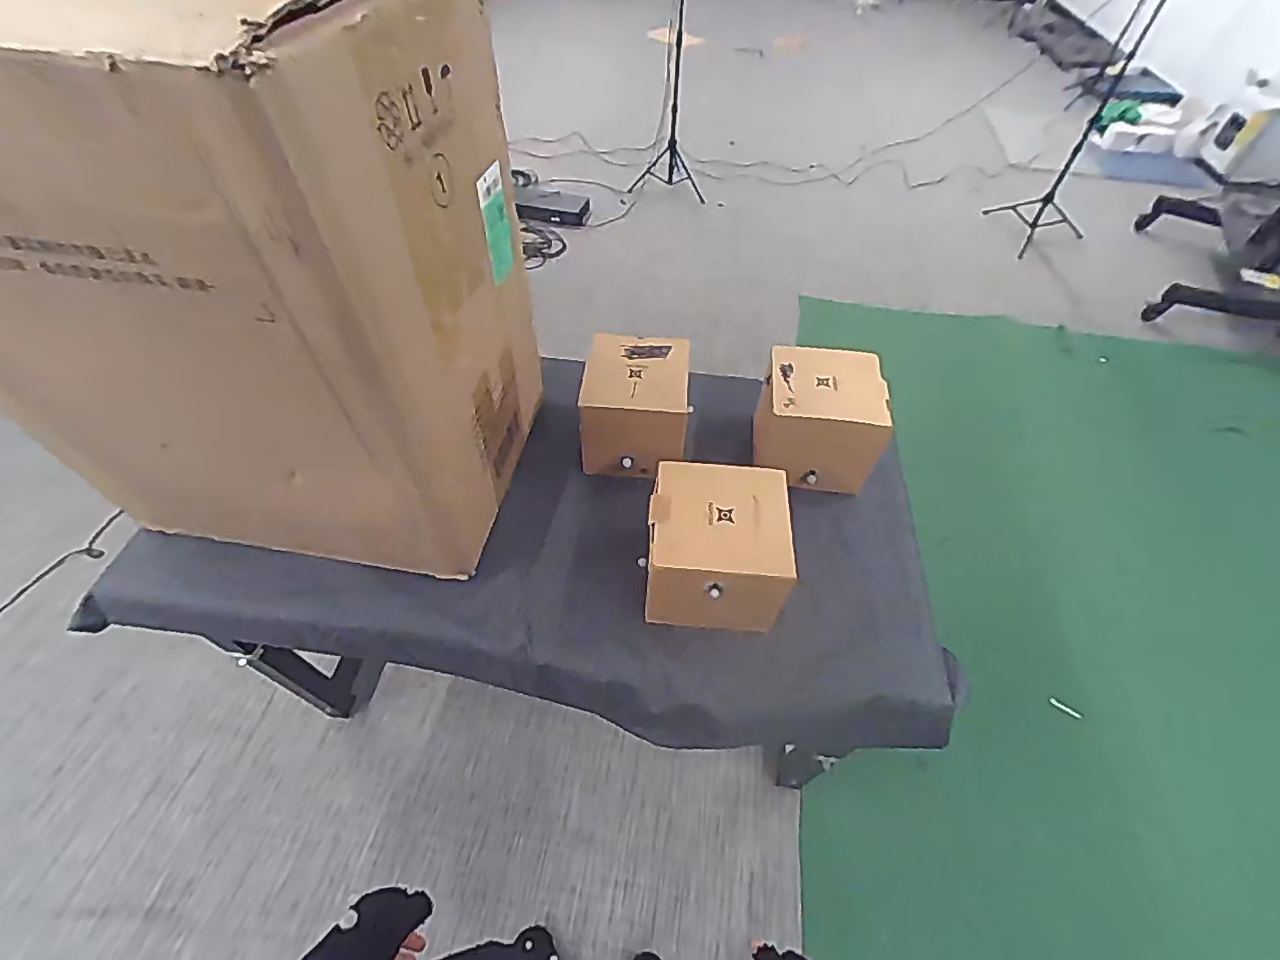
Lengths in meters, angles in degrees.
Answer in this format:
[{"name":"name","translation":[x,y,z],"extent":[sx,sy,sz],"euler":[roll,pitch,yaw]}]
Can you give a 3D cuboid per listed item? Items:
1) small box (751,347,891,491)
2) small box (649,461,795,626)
[{"name":"small box","translation":[0.294,-0.098,0.914],"extent":[0.179,0.176,0.168],"euler":[7,51,3]},{"name":"small box","translation":[0.106,0.093,0.761],"extent":[0.179,0.176,0.168],"euler":[5,53,1]}]
